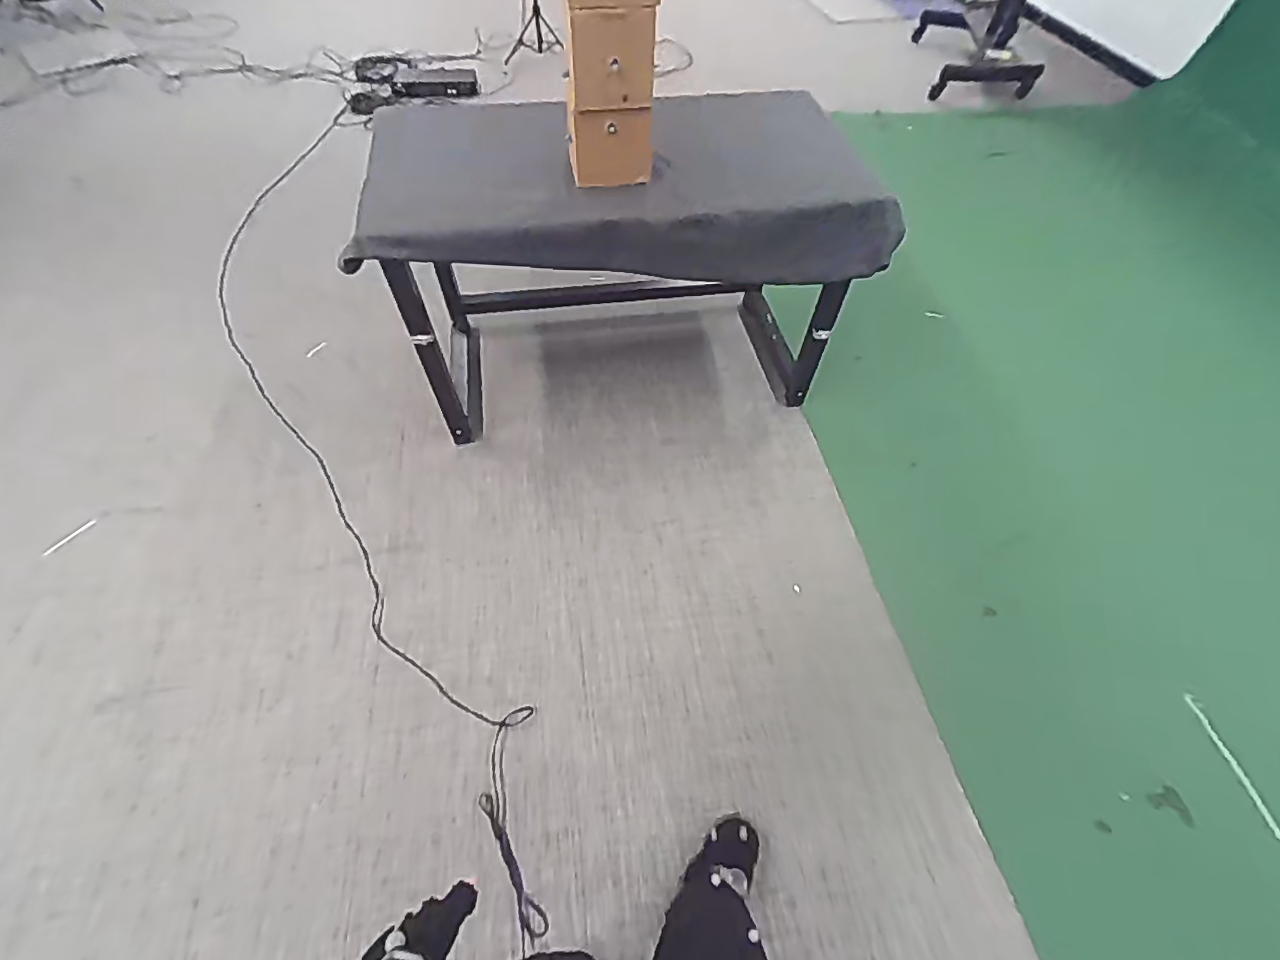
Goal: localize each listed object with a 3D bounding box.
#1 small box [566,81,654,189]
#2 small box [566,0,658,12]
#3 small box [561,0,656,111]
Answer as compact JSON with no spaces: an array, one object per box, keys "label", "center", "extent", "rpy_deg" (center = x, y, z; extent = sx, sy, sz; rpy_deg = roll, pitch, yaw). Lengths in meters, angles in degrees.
[{"label":"small box","center":[-0.070,-0.792,1.242],"extent":[0.179,0.176,0.168],"rpy_deg":[-7,57,-8]},{"label":"small box","center":[-0.054,-0.968,0.965],"extent":[0.179,0.176,0.168],"rpy_deg":[-9,57,-9]},{"label":"small box","center":[-0.064,-0.879,1.103],"extent":[0.168,0.176,0.179],"rpy_deg":[-8,57,-7]}]
